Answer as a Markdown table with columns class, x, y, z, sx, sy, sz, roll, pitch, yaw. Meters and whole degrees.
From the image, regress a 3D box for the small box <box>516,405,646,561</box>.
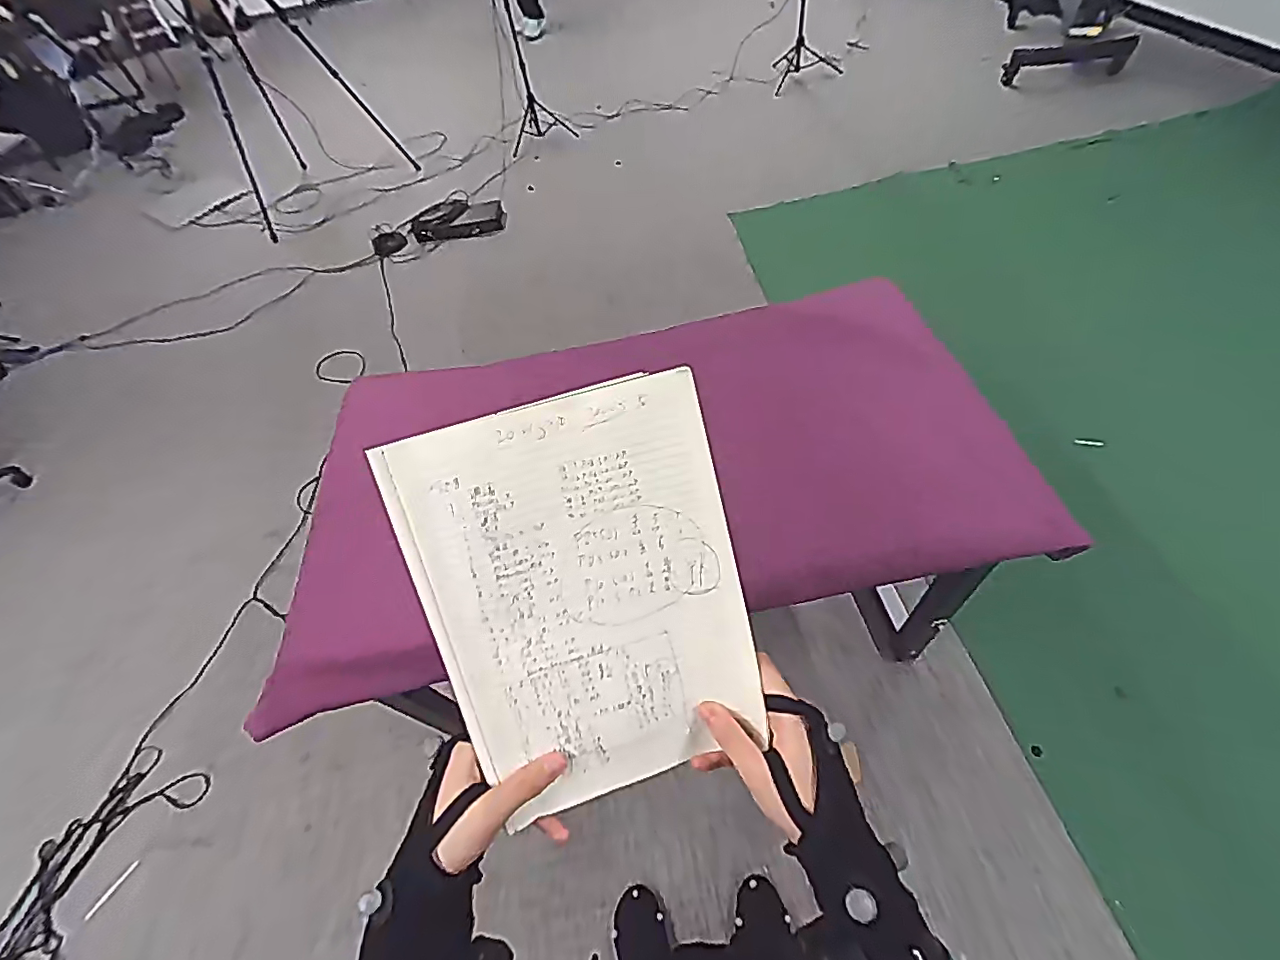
| class | x | y | z | sx | sy | sz | roll | pitch | yaw |
| --- | --- | --- | --- | --- | --- | --- | --- | --- | --- |
| small box | -0.089 | 0.013 | 0.852 | 0.168 | 0.176 | 0.179 | -11 | 54 | 1 |
